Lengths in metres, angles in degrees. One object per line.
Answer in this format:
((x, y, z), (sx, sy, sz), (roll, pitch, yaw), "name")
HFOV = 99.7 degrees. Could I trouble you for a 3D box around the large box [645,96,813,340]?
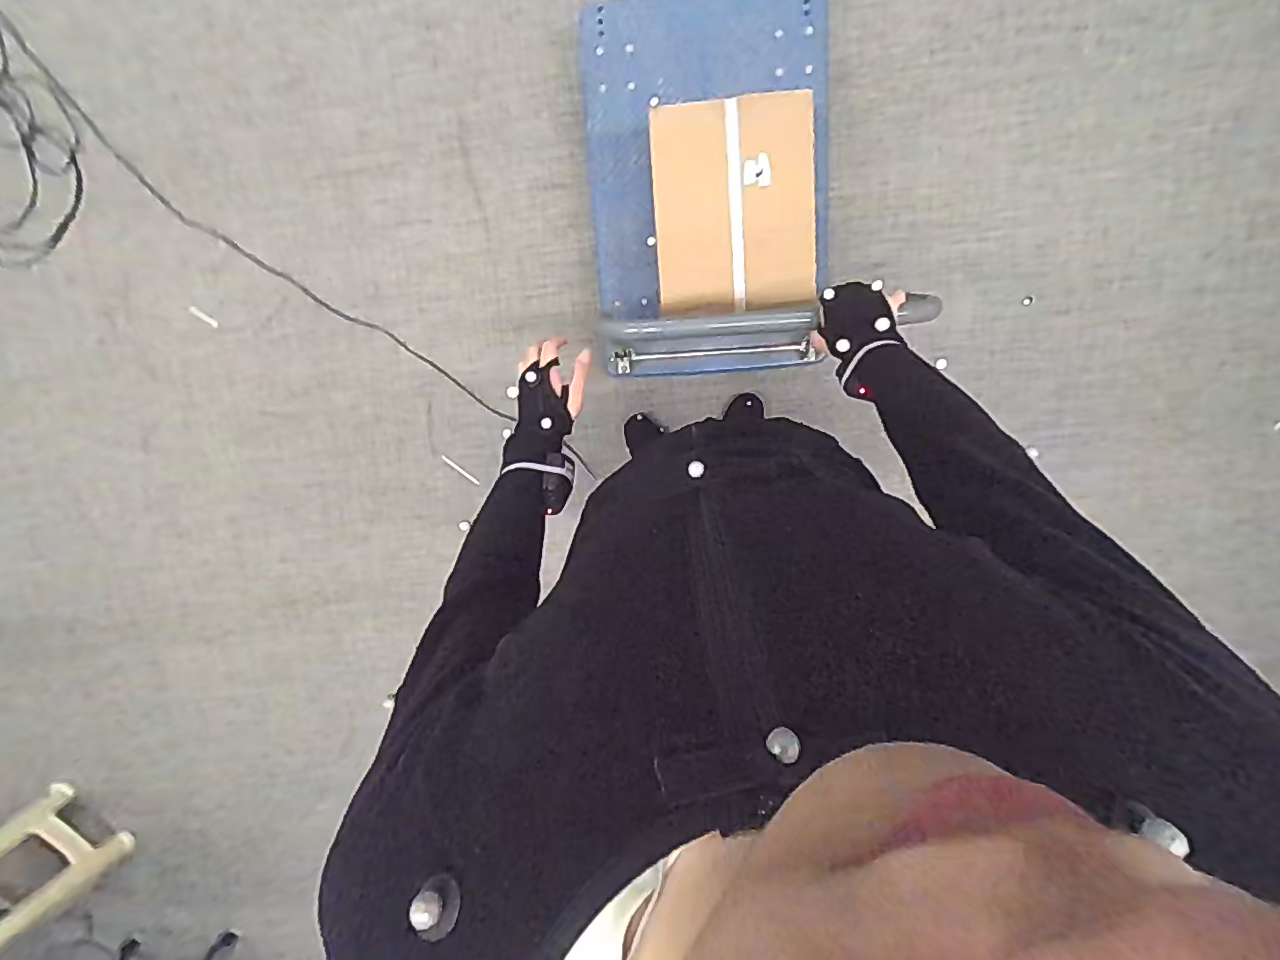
((0.187, -0.546, 1.212), (0.320, 0.320, 0.408), (-4, 99, 3), "large box")
